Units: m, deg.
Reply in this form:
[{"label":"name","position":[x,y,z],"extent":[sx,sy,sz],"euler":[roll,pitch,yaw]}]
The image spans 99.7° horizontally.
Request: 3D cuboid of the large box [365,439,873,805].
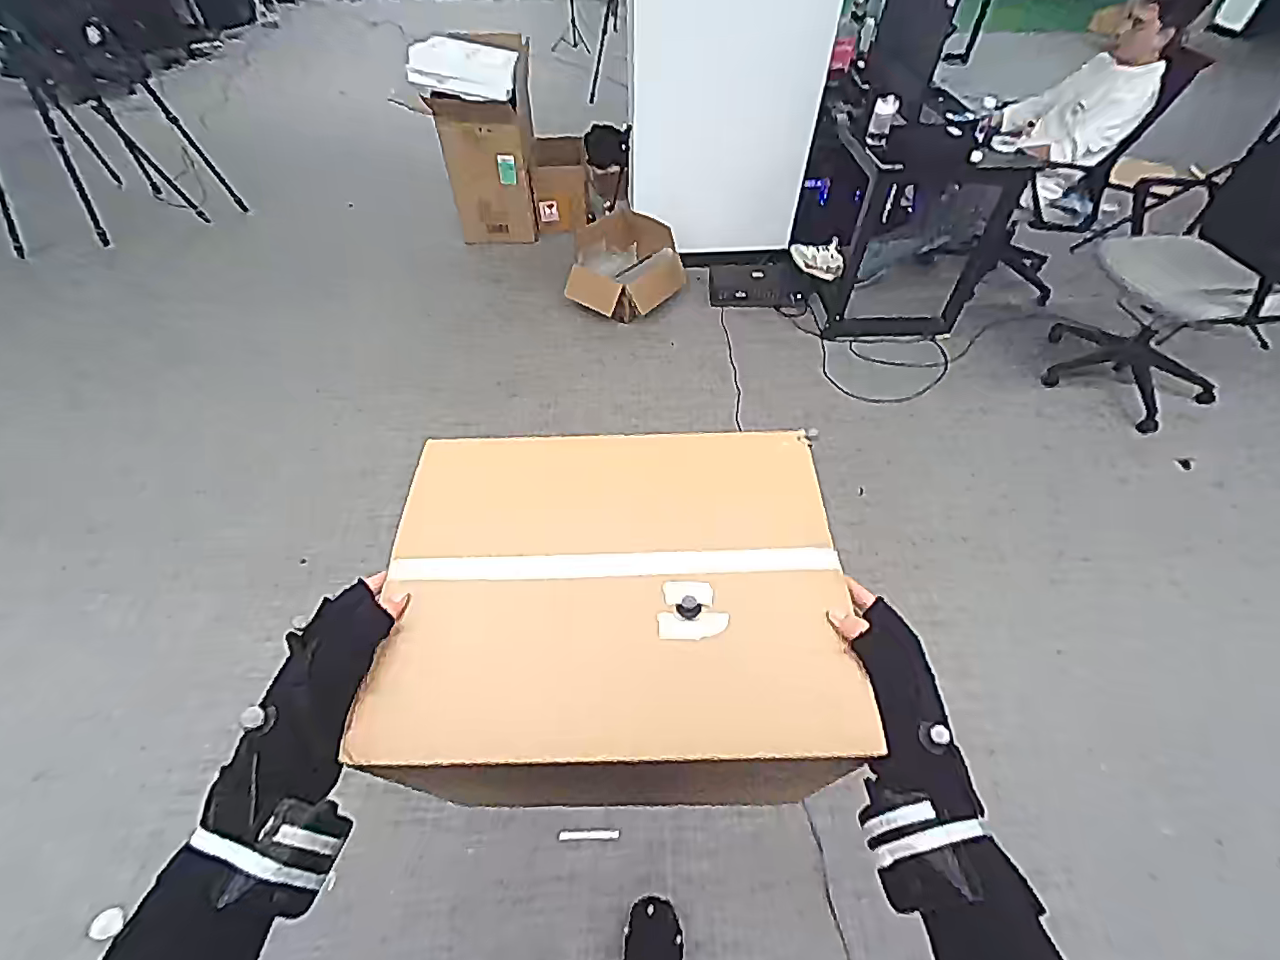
[{"label":"large box","position":[-0.018,0.172,0.622],"extent":[0.408,0.320,0.320],"euler":[-1,53,0]}]
